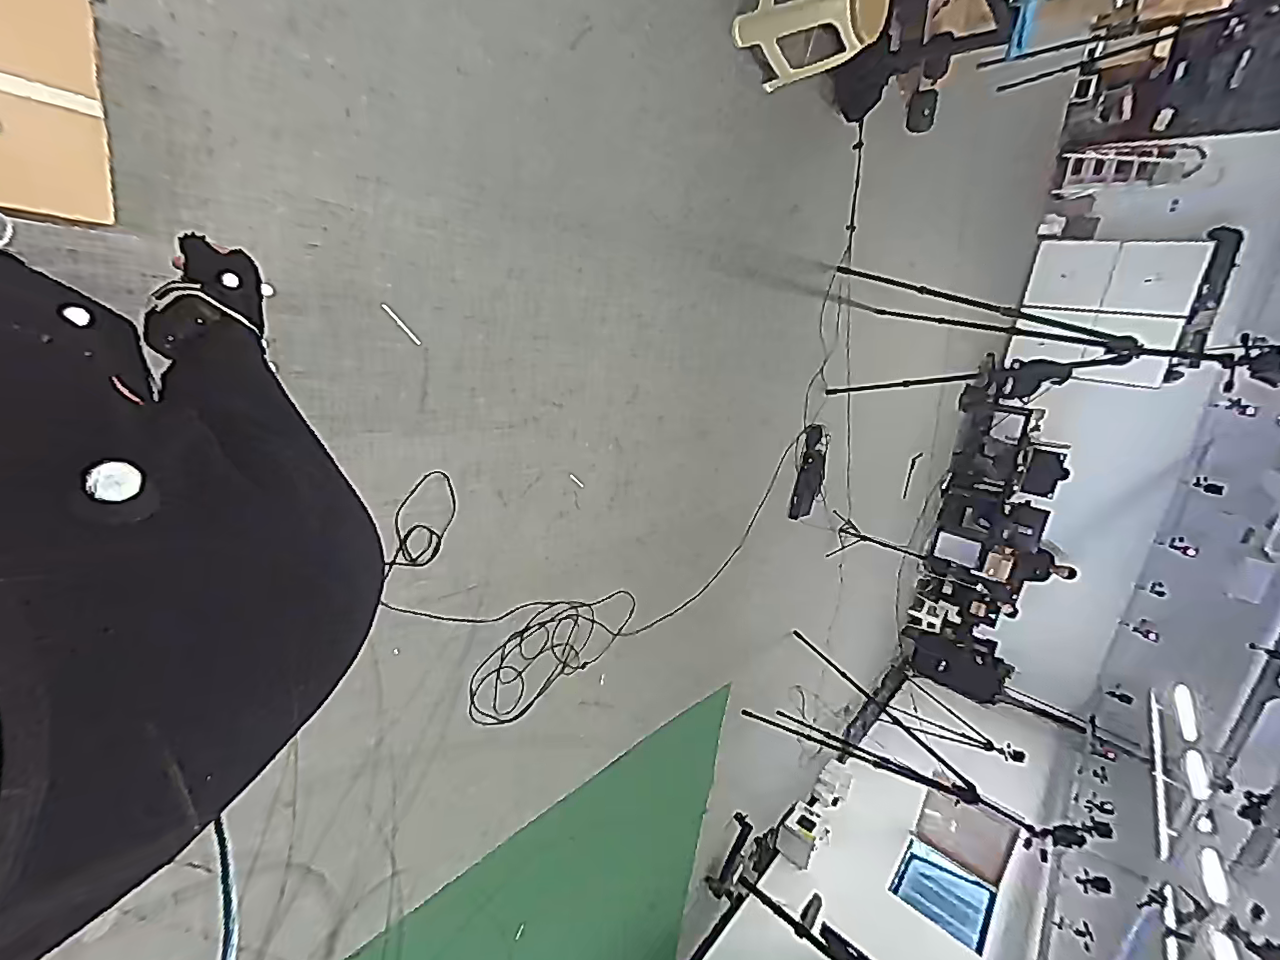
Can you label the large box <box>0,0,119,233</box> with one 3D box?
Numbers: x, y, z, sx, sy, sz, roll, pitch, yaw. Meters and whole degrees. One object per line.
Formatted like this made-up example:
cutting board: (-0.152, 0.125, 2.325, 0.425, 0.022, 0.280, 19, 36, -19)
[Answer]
large box: (-1.026, -0.548, 0.738, 0.408, 0.320, 0.320, -9, 112, -48)
